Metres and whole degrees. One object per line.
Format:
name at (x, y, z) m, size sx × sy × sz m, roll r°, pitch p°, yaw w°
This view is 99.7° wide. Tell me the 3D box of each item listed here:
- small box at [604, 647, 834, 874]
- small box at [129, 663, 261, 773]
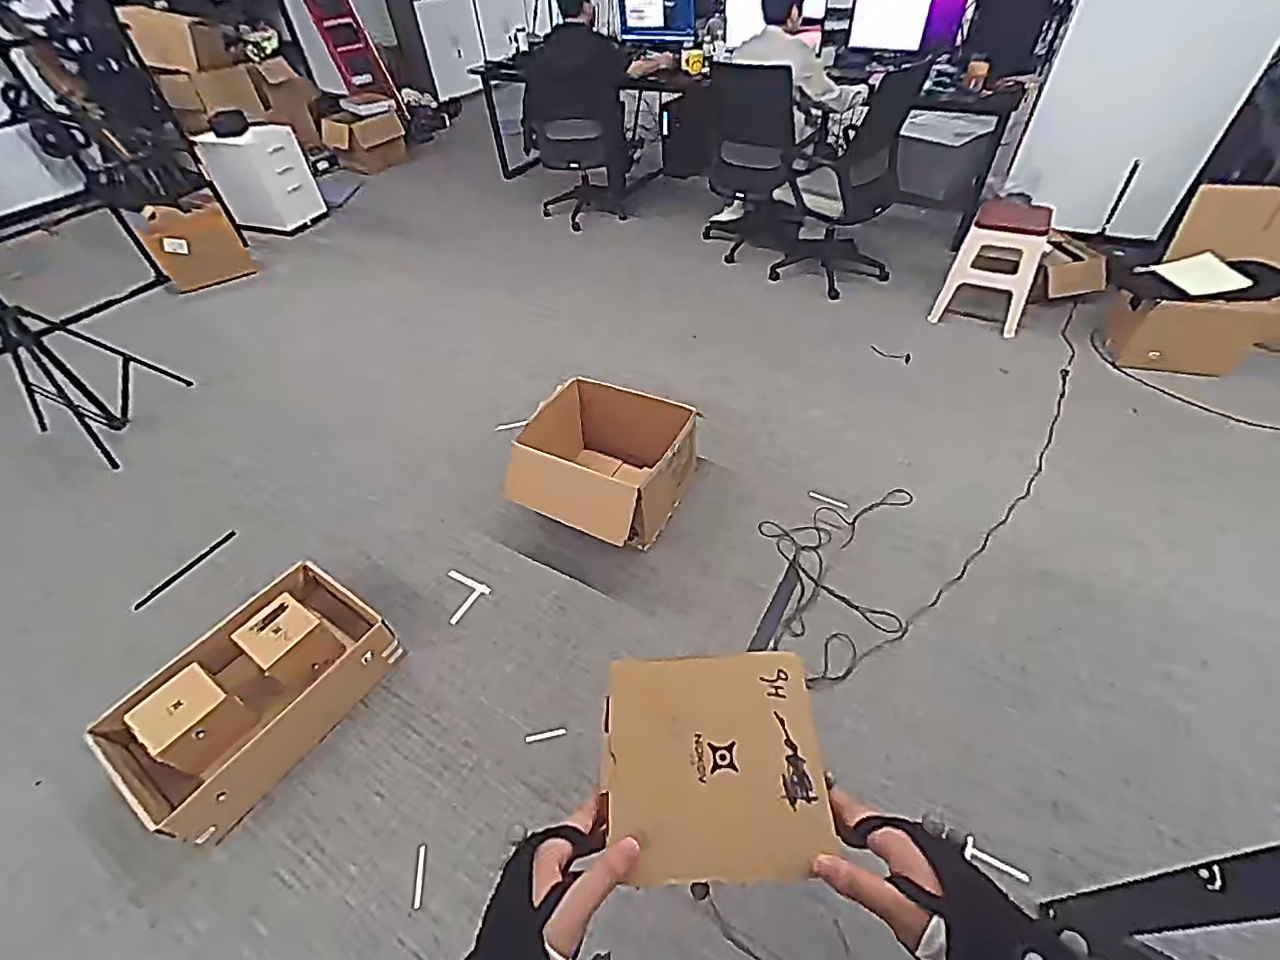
small box at (0.063, 0.271, 0.514) m, size 0.179 × 0.176 × 0.168 m, roll -4°, pitch 54°, yaw 2°
small box at (-1.147, 0.622, 1.405) m, size 0.168 × 0.176 × 0.179 m, roll 26°, pitch 52°, yaw 24°
